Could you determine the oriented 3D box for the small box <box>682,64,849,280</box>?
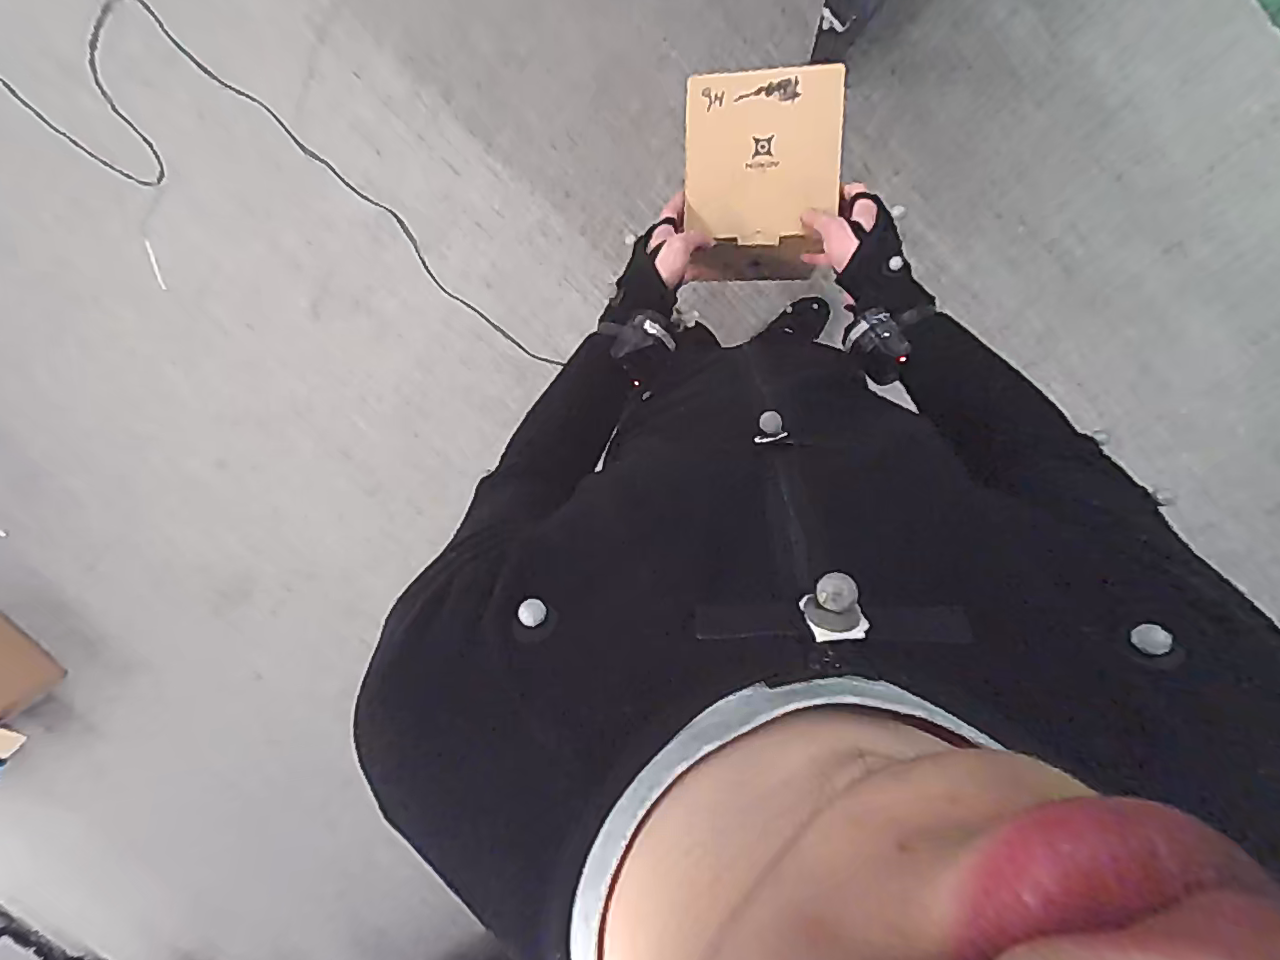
[{"bbox_3d":[0.142,-0.345,0.645,0.168,0.176,0.179,2,96,9],"label":"small box"}]
